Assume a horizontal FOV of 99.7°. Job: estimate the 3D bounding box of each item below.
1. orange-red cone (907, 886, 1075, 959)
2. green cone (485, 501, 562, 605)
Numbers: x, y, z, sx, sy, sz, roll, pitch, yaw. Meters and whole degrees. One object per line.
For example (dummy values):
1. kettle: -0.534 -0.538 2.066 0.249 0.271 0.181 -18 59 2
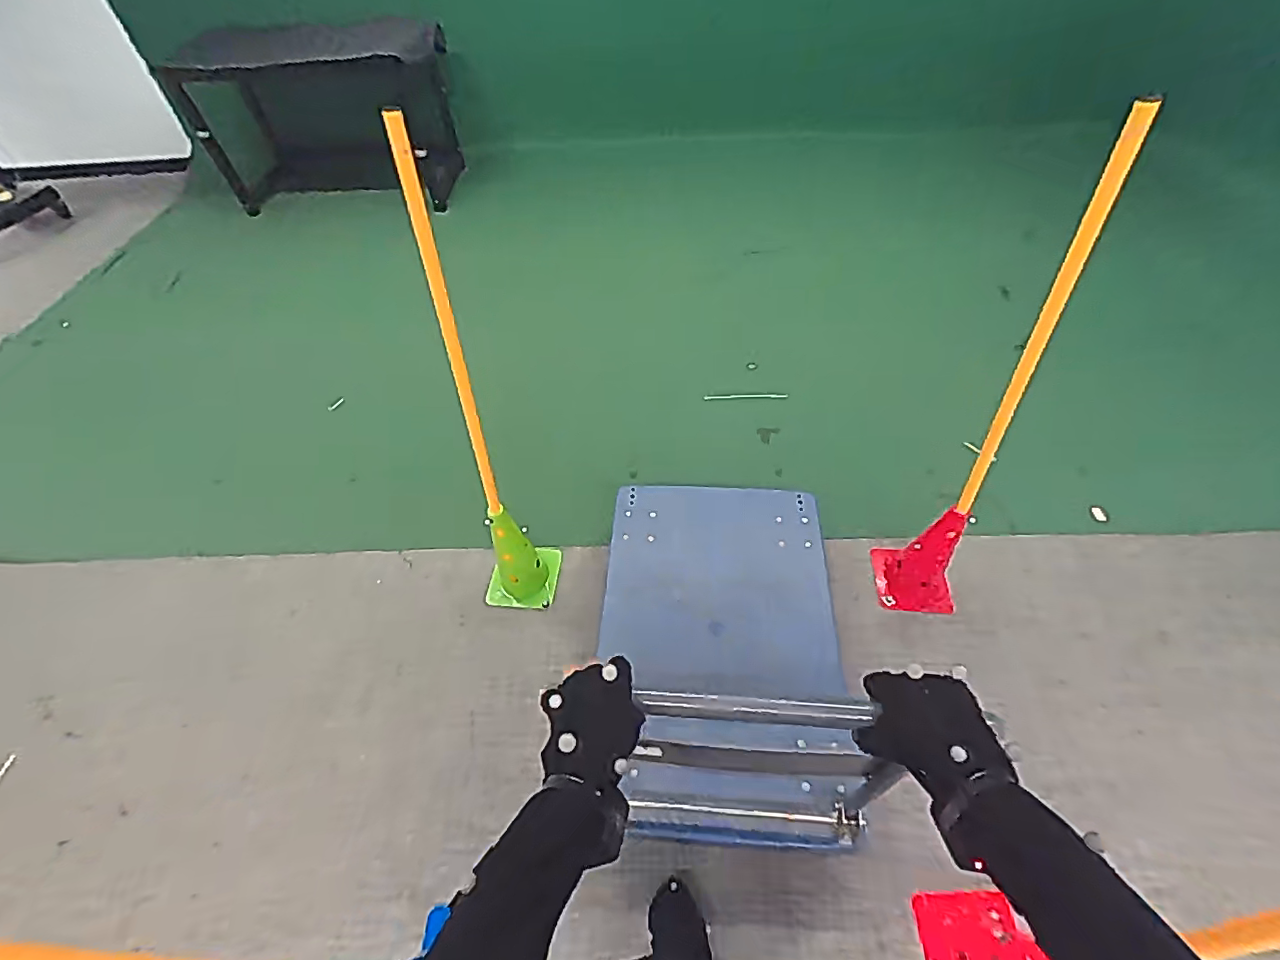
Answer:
1. orange-red cone: 0.643 0.828 0.944 0.199 0.360 0.198 -3 51 3
2. green cone: -0.356 0.177 1.509 0.202 0.368 0.200 2 51 6
